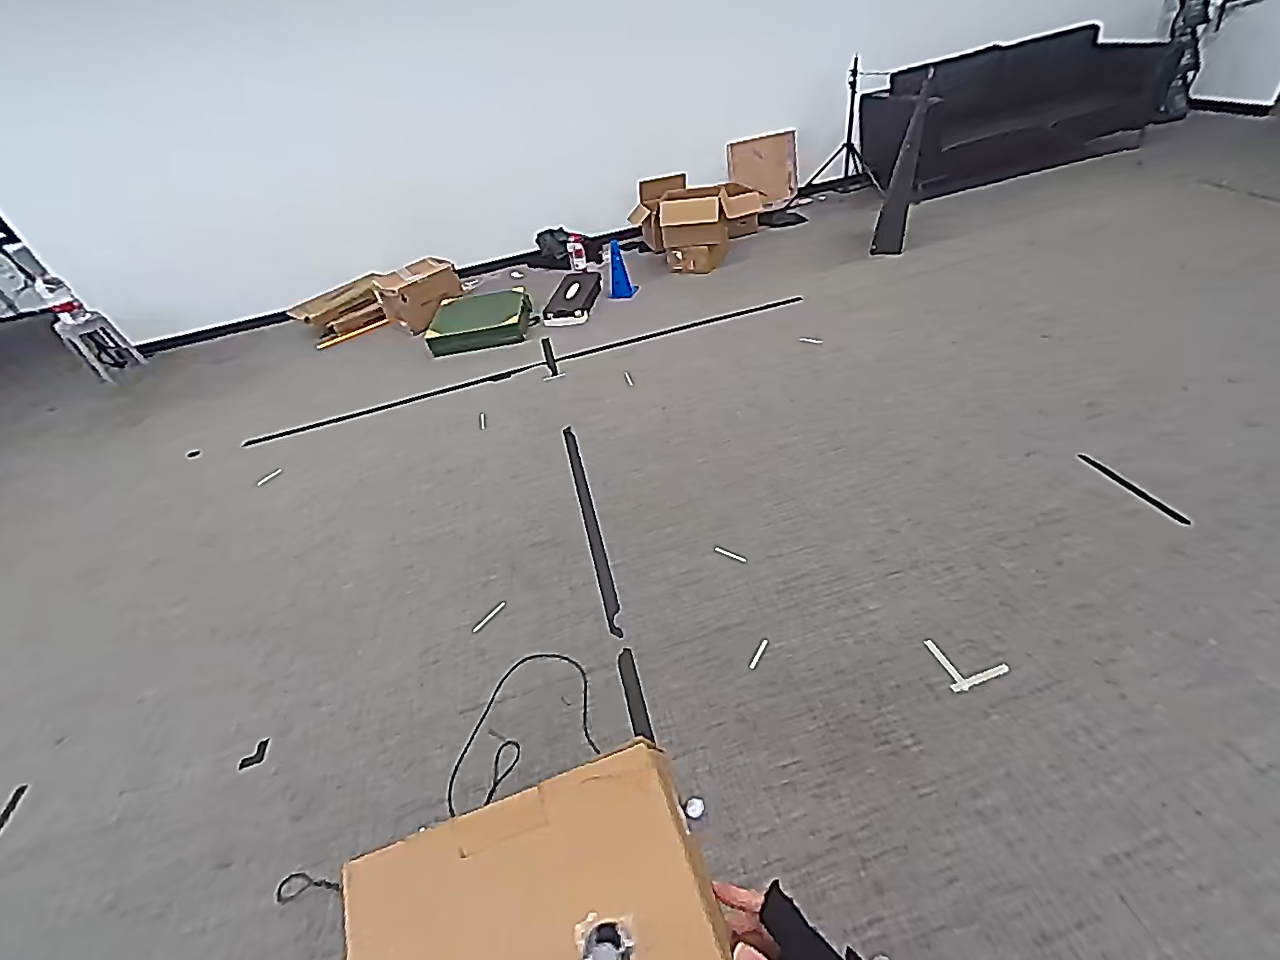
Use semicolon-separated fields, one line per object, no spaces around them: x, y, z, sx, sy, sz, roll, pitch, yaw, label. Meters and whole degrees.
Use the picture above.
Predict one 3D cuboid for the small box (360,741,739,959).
-0.035;0.280;0.326;0.168;0.179;0.176;-21;60;-3;small box
